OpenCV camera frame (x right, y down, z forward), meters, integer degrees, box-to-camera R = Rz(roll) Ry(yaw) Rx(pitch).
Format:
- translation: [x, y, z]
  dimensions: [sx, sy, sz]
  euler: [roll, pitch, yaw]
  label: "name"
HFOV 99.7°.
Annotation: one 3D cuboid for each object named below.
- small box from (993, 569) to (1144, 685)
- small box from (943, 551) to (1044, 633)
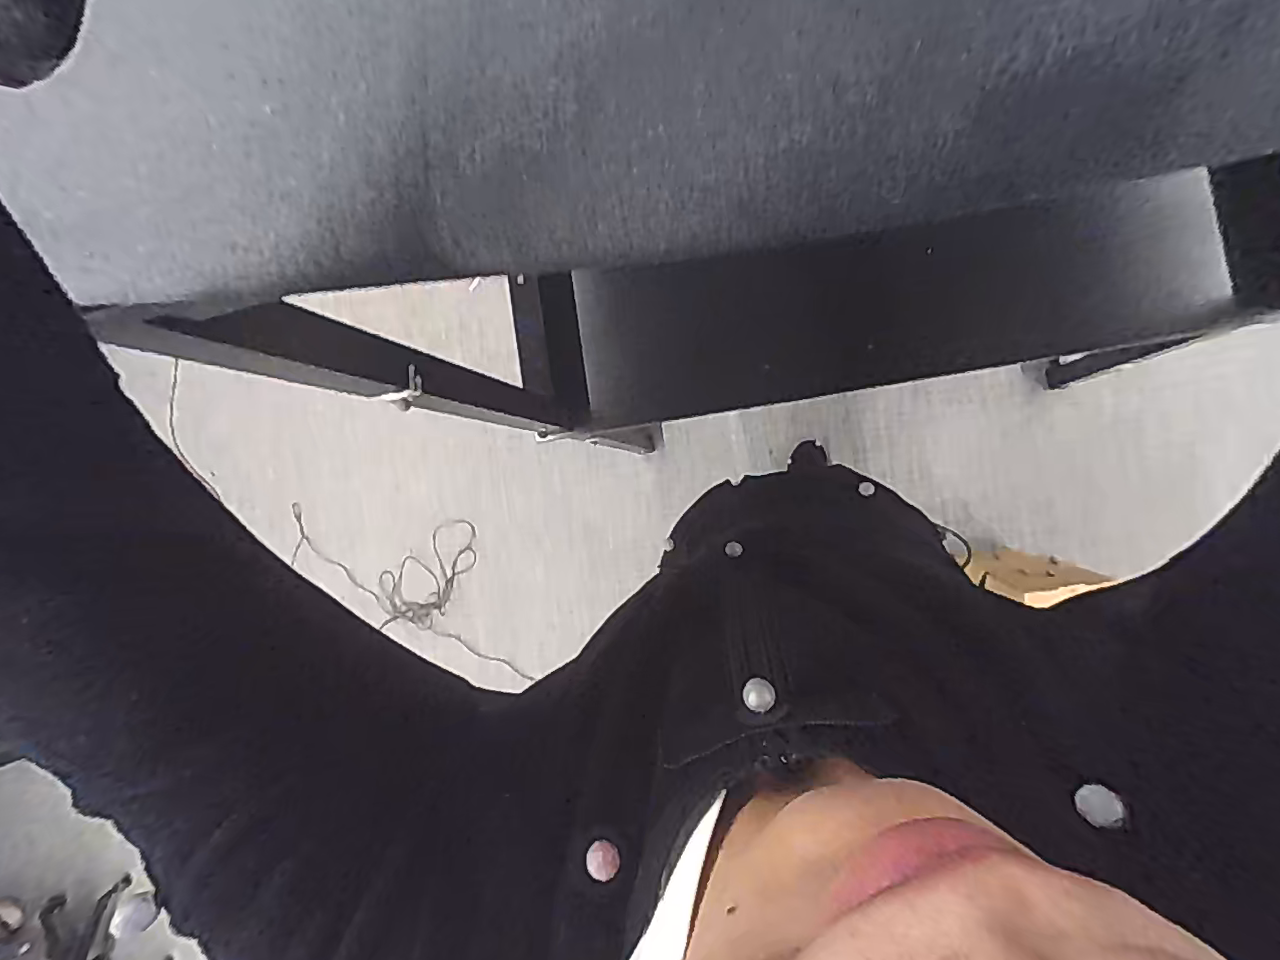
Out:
- translation: [0.836, 0.285, 1.073]
  dimensions: [0.168, 0.176, 0.179]
  euler: [-12, 87, 14]
  label: "small box"
- translation: [0.912, 0.283, 1.391]
  dimensions: [0.179, 0.176, 0.168]
  euler: [-10, 87, 15]
  label: "small box"
